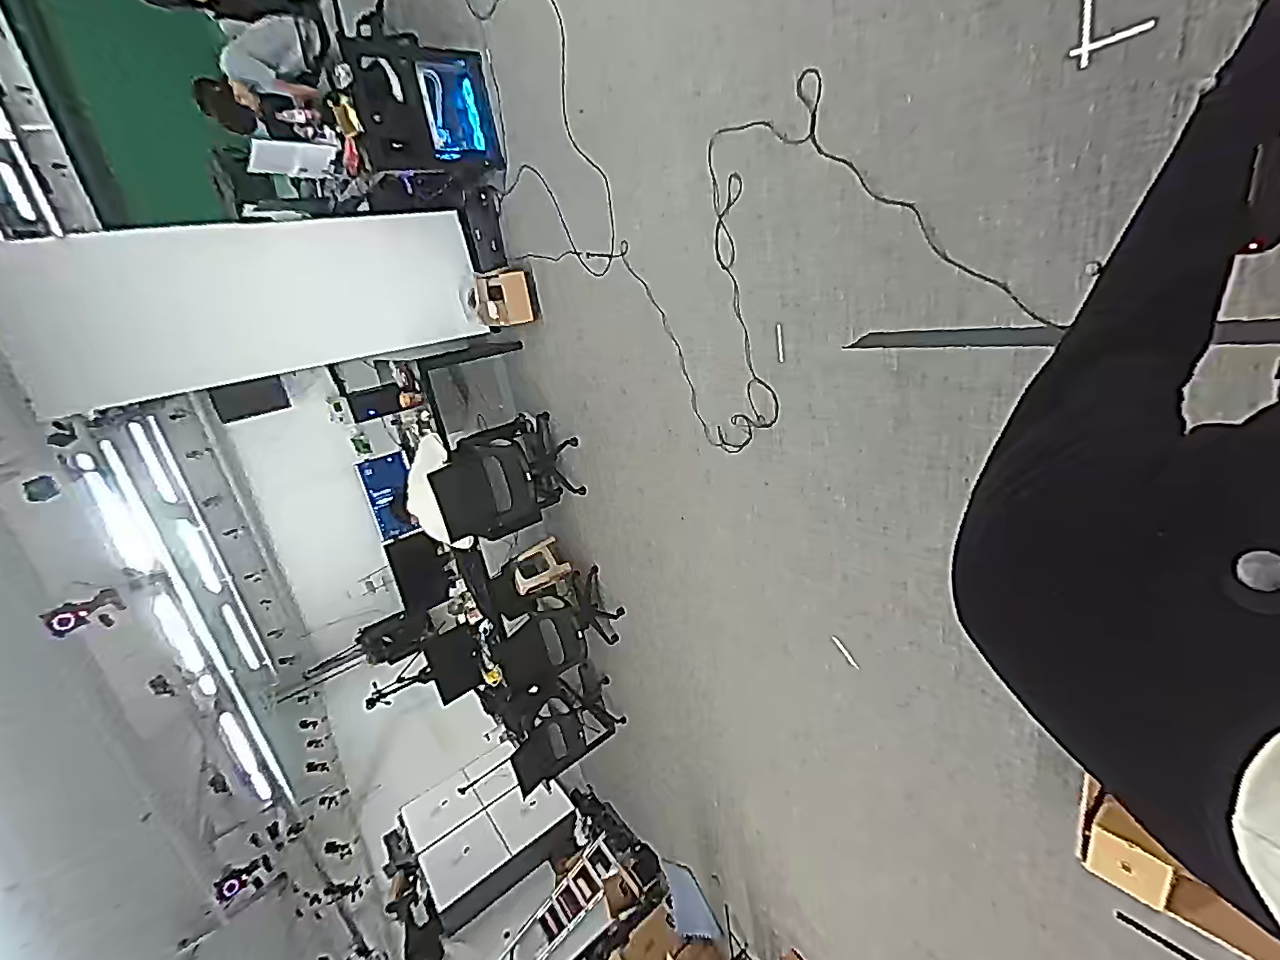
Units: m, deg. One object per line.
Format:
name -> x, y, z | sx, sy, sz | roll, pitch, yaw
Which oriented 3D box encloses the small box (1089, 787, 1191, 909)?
small box -> 1.377, 1.003, 1.488 | 0.168, 0.176, 0.179 | 16, 120, 51
